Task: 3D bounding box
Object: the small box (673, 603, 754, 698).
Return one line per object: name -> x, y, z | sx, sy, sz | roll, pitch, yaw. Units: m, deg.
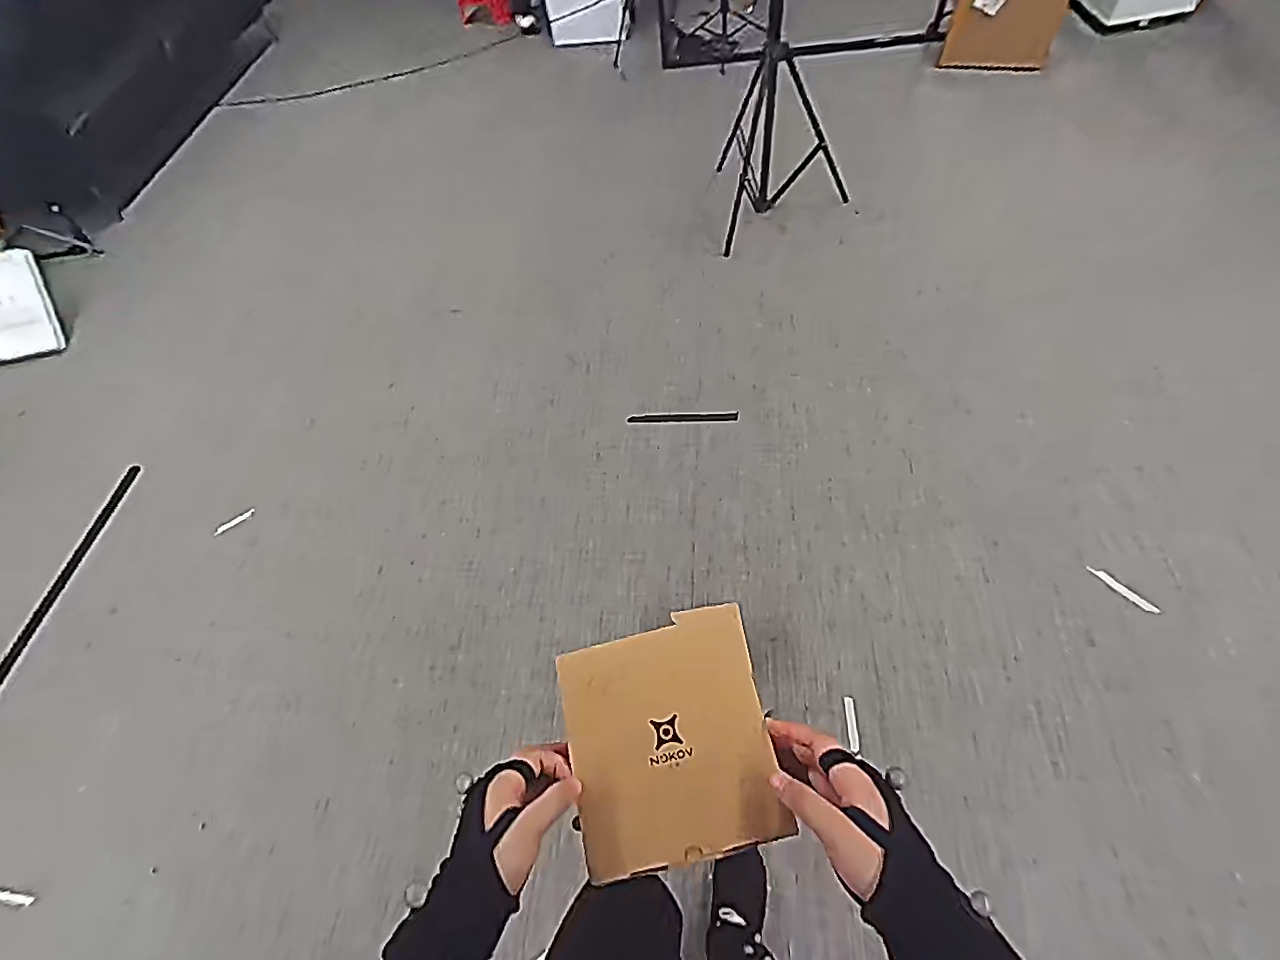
small box -> 0.175, 0.420, 1.321 | 0.168, 0.176, 0.179 | -10, 59, 3
